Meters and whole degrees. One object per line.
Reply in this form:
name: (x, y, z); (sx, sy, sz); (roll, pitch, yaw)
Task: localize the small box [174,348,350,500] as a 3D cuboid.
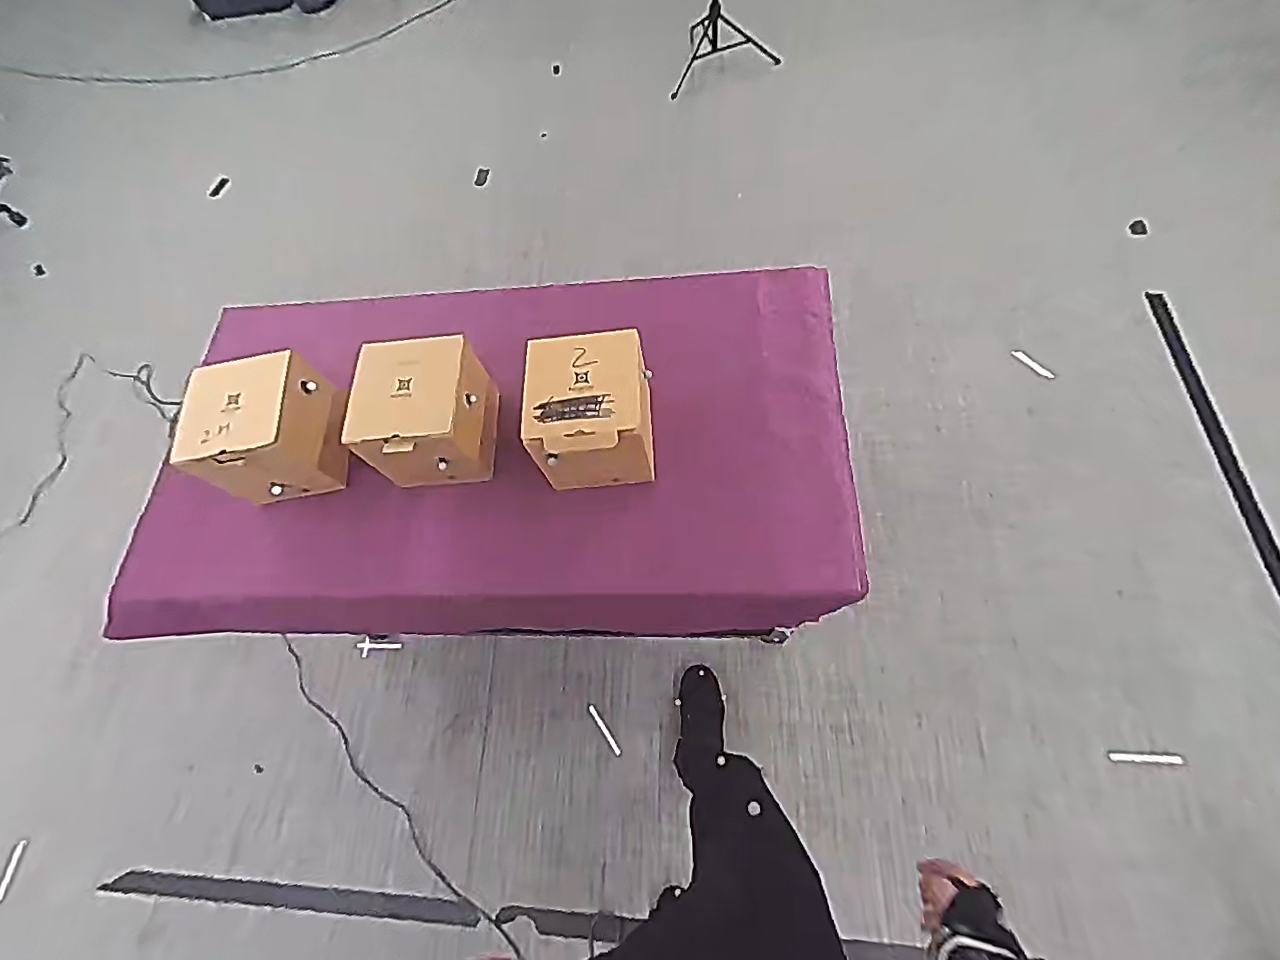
small box: (-0.601, -0.086, 0.890); (0.168, 0.176, 0.179); (-10, 66, 3)

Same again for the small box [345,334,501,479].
small box: (-0.333, -0.107, 0.867); (0.168, 0.176, 0.179); (-3, 66, 5)
